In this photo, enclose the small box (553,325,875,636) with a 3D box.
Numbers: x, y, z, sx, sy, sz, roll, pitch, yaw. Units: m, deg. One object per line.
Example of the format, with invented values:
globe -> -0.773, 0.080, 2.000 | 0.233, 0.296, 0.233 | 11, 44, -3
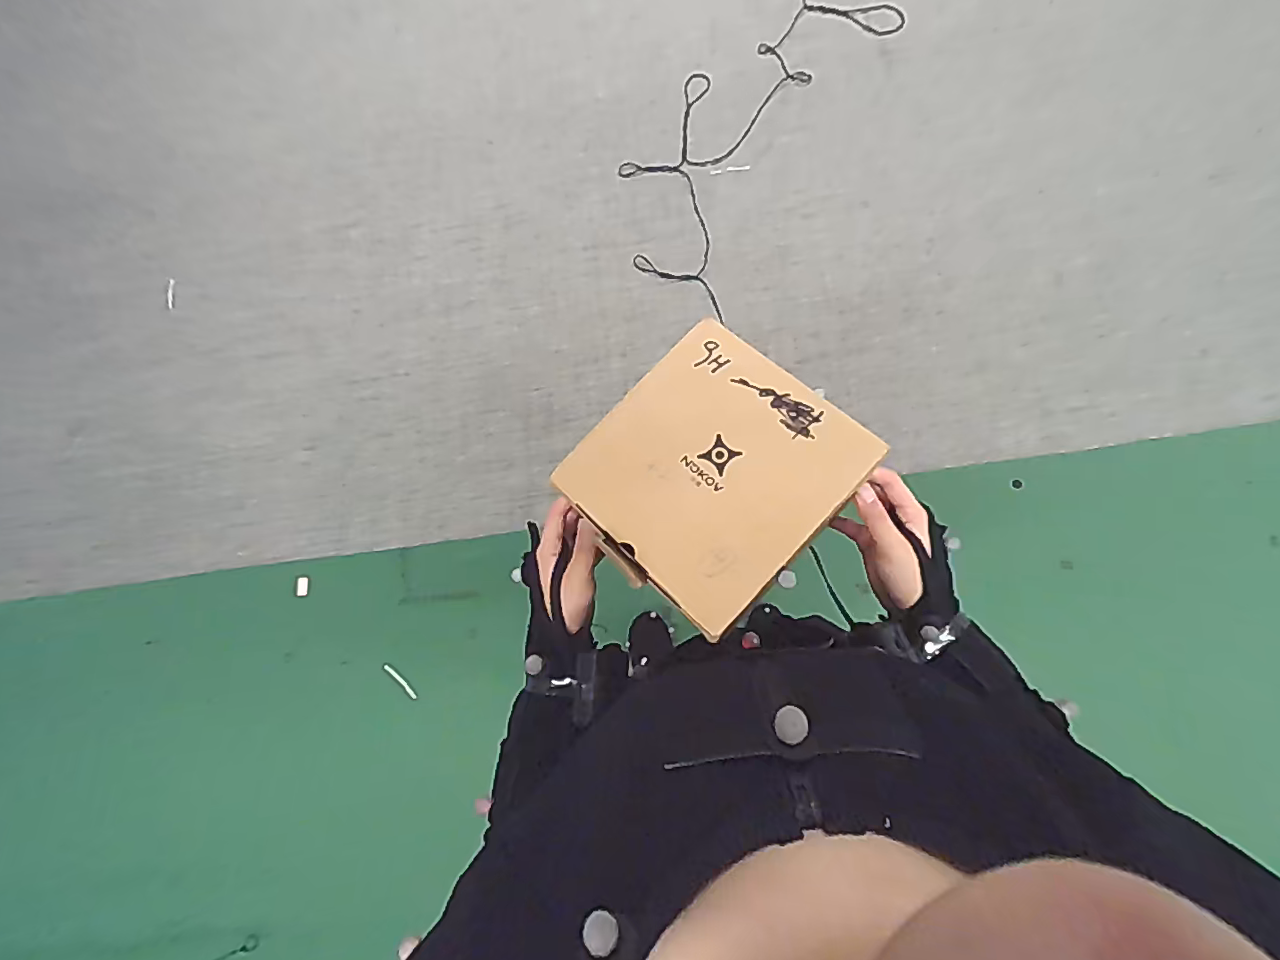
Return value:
small box -> 0.064, 0.014, 0.460 | 0.168, 0.176, 0.179 | 41, 86, 19
